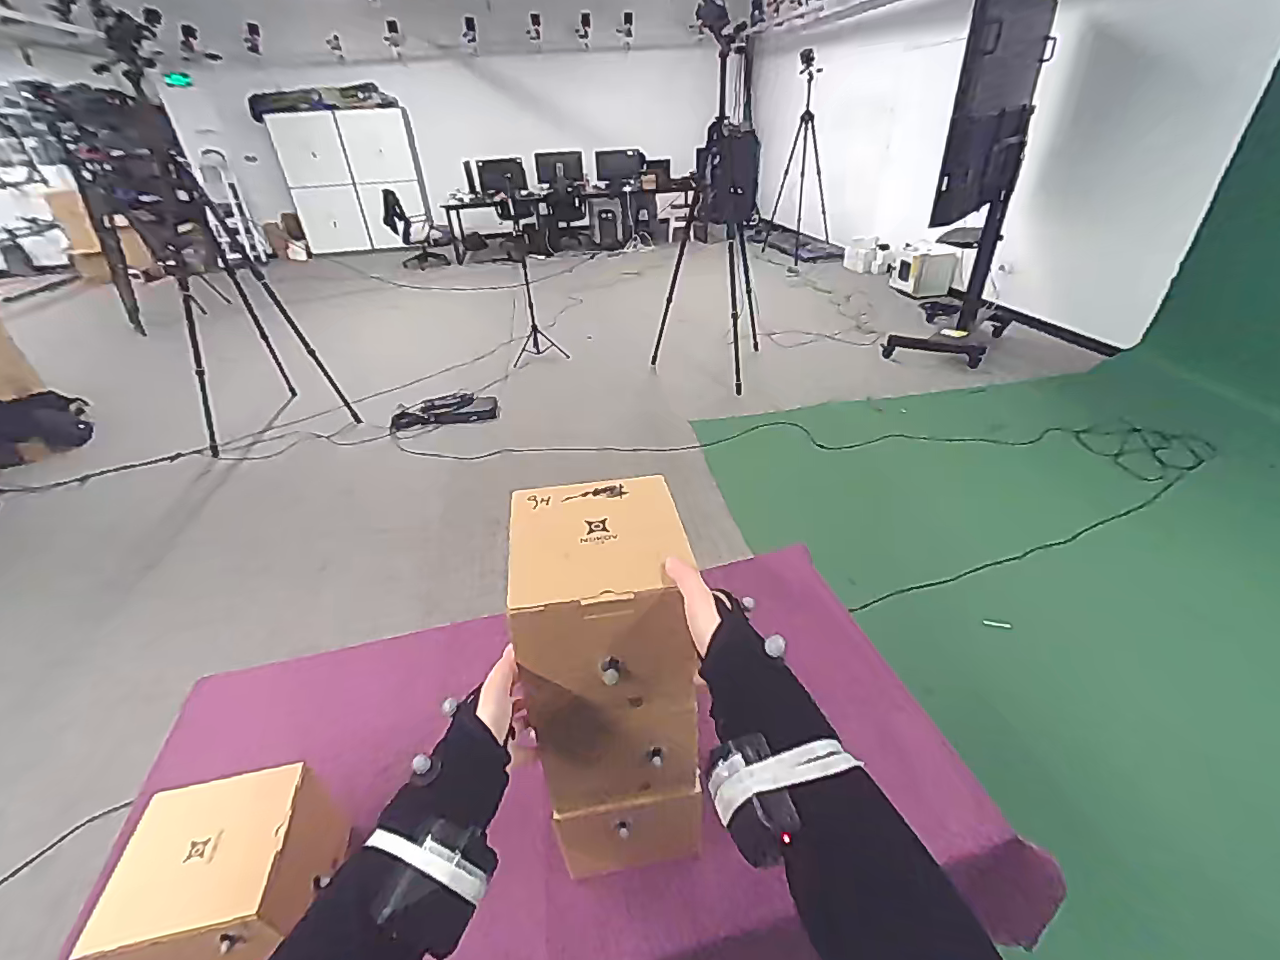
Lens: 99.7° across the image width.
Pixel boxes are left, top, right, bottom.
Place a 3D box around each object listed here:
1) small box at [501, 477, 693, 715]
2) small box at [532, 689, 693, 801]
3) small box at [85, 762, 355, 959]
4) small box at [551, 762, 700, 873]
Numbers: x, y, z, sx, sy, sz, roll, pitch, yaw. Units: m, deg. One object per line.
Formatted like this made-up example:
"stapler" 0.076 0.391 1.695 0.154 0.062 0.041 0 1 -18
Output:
"small box" -0.042 0.121 0.562 0.168 0.176 0.179 -6 34 -7
"small box" -0.031 0.258 0.652 0.168 0.176 0.179 -7 33 -5
"small box" -0.484 0.486 0.661 0.179 0.176 0.168 -9 33 -8
"small box" -0.019 0.398 0.733 0.179 0.176 0.168 -7 34 -4
